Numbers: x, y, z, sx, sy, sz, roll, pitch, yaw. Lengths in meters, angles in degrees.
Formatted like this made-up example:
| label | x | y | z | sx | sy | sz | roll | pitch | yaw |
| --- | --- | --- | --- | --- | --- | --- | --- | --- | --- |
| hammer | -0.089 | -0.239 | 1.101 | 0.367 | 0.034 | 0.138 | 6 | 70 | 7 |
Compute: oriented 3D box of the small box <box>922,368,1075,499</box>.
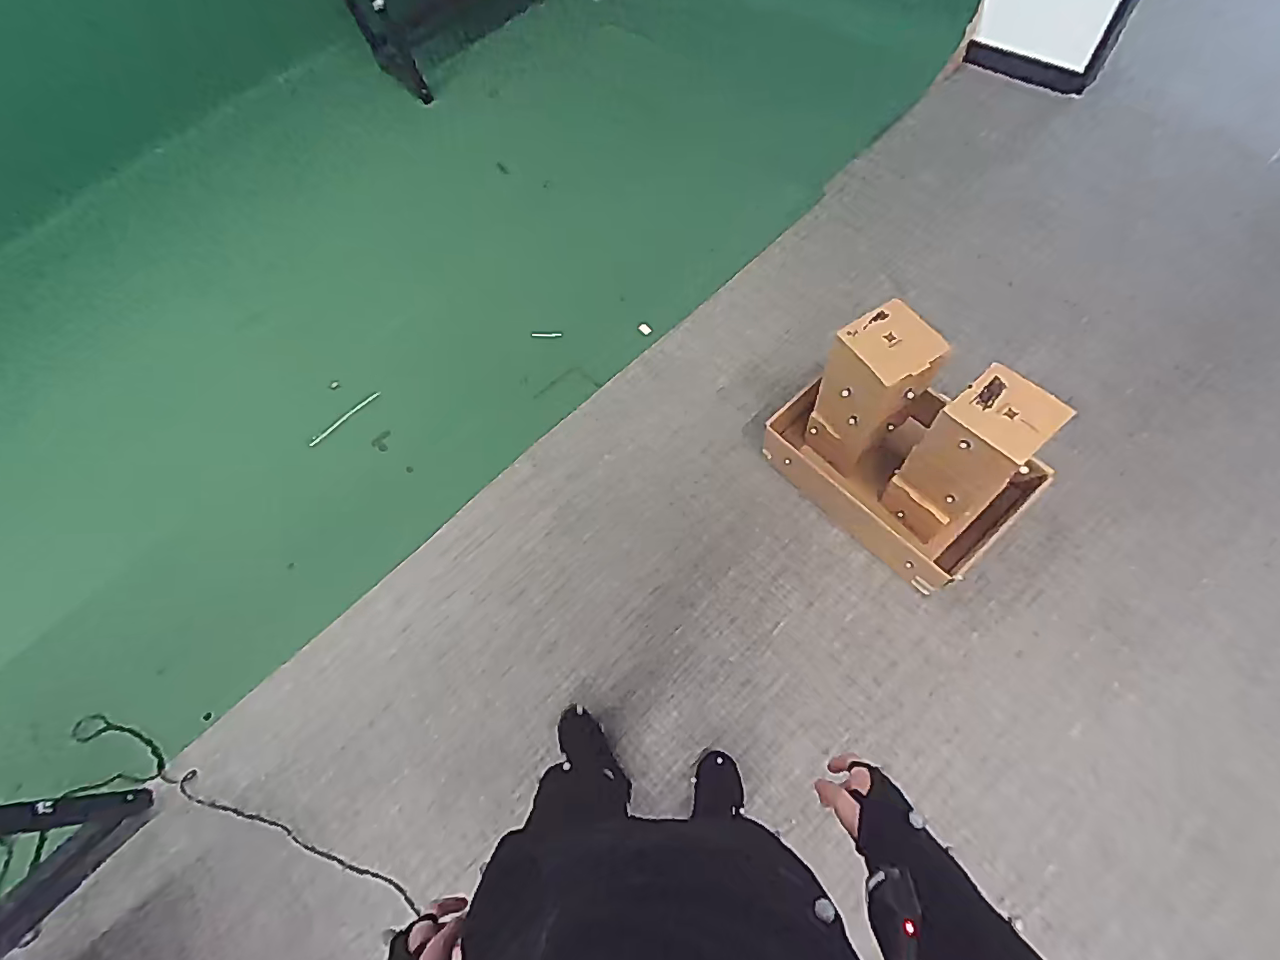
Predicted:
| label | x | y | z | sx | sy | sz | roll | pitch | yaw |
| --- | --- | --- | --- | --- | --- | --- | --- | --- | --- |
| small box | 0.729 | -0.090 | 1.125 | 0.168 | 0.176 | 0.179 | -40 | 65 | -8 |

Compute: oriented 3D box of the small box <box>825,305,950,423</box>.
| label | x | y | z | sx | sy | sz | roll | pitch | yaw |
| --- | --- | --- | --- | --- | --- | --- | --- | --- | --- |
| small box | 0.550 | -0.252 | 1.230 | 0.168 | 0.176 | 0.179 | -30 | 66 | -5 |
